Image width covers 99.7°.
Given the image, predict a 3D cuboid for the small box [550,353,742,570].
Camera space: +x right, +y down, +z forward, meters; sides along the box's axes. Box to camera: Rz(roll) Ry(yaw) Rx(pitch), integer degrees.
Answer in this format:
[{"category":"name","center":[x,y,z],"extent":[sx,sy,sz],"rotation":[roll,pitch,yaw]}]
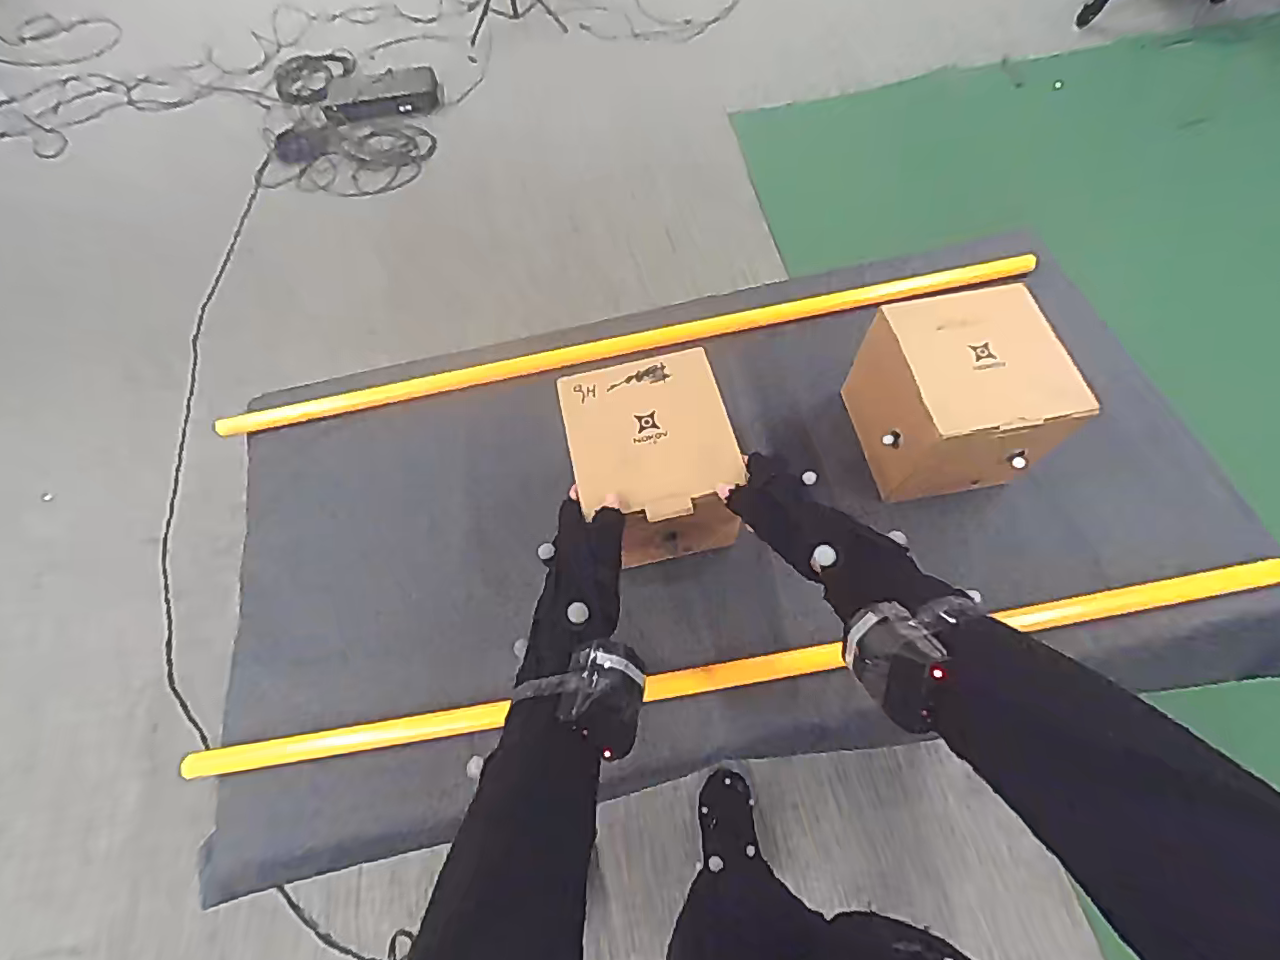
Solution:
[{"category":"small box","center":[0.009,-0.009,0.622],"extent":[0.168,0.176,0.179],"rotation":[-16,63,-2]}]

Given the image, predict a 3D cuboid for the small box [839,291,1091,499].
[{"category":"small box","center":[0.361,-0.089,0.643],"extent":[0.168,0.176,0.179],"rotation":[-9,62,-2]}]
